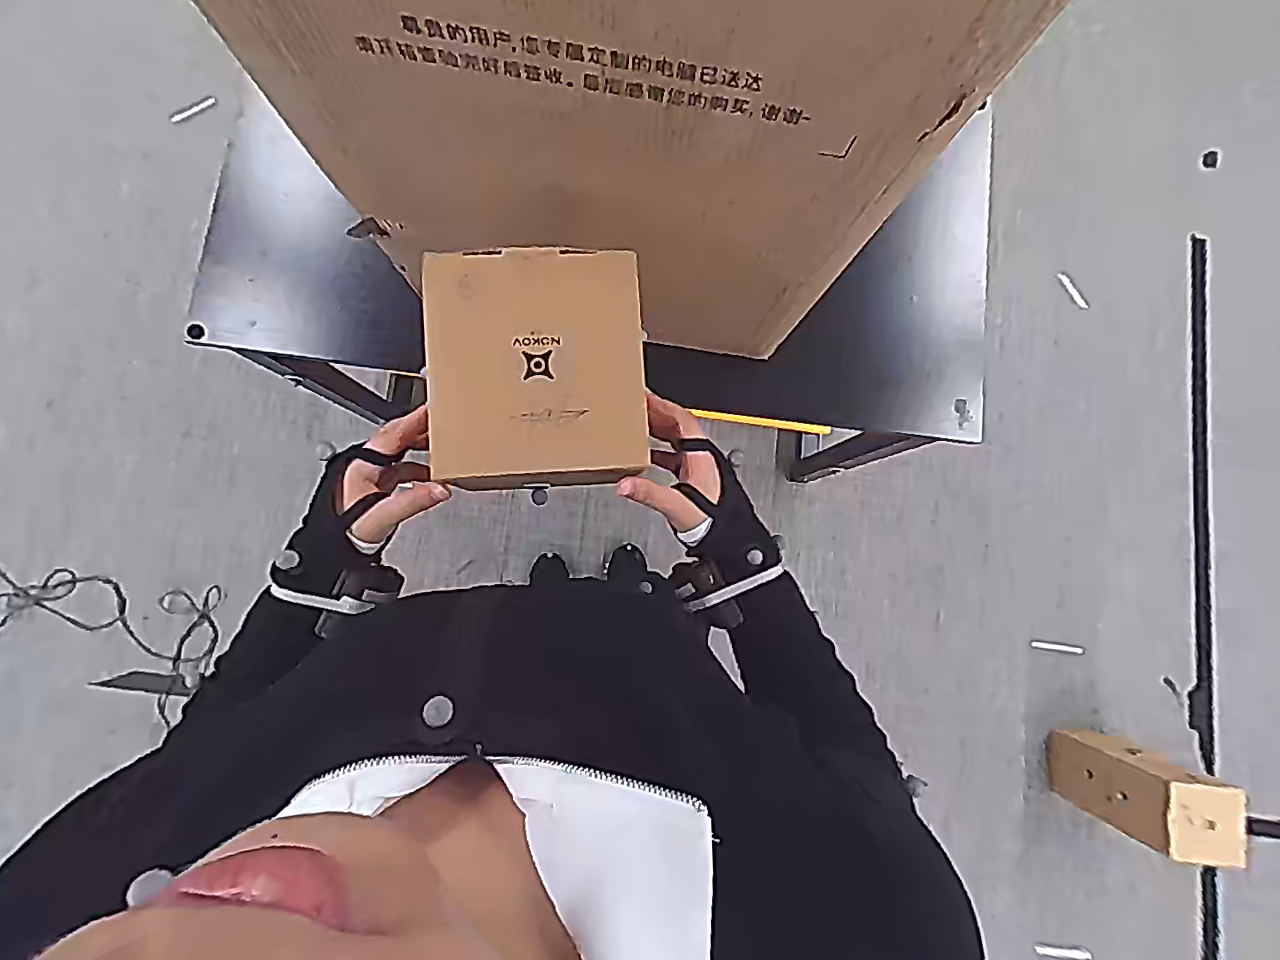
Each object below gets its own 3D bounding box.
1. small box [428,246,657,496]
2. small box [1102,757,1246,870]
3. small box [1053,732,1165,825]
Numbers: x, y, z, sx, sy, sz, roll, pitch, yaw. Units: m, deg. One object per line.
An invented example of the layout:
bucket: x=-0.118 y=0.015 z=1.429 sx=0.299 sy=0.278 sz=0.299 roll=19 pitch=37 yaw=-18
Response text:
small box: x=-0.082 y=-0.082 z=0.479 sx=0.168 sy=0.176 sz=0.179 roll=-3 pitch=85 yaw=-7
small box: x=1.240 y=0.768 z=1.263 sx=0.179 sy=0.176 sz=0.168 roll=7 pitch=83 yaw=-2
small box: x=1.231 y=0.782 z=1.427 sx=0.168 sy=0.176 sz=0.179 roll=4 pitch=84 yaw=-3
